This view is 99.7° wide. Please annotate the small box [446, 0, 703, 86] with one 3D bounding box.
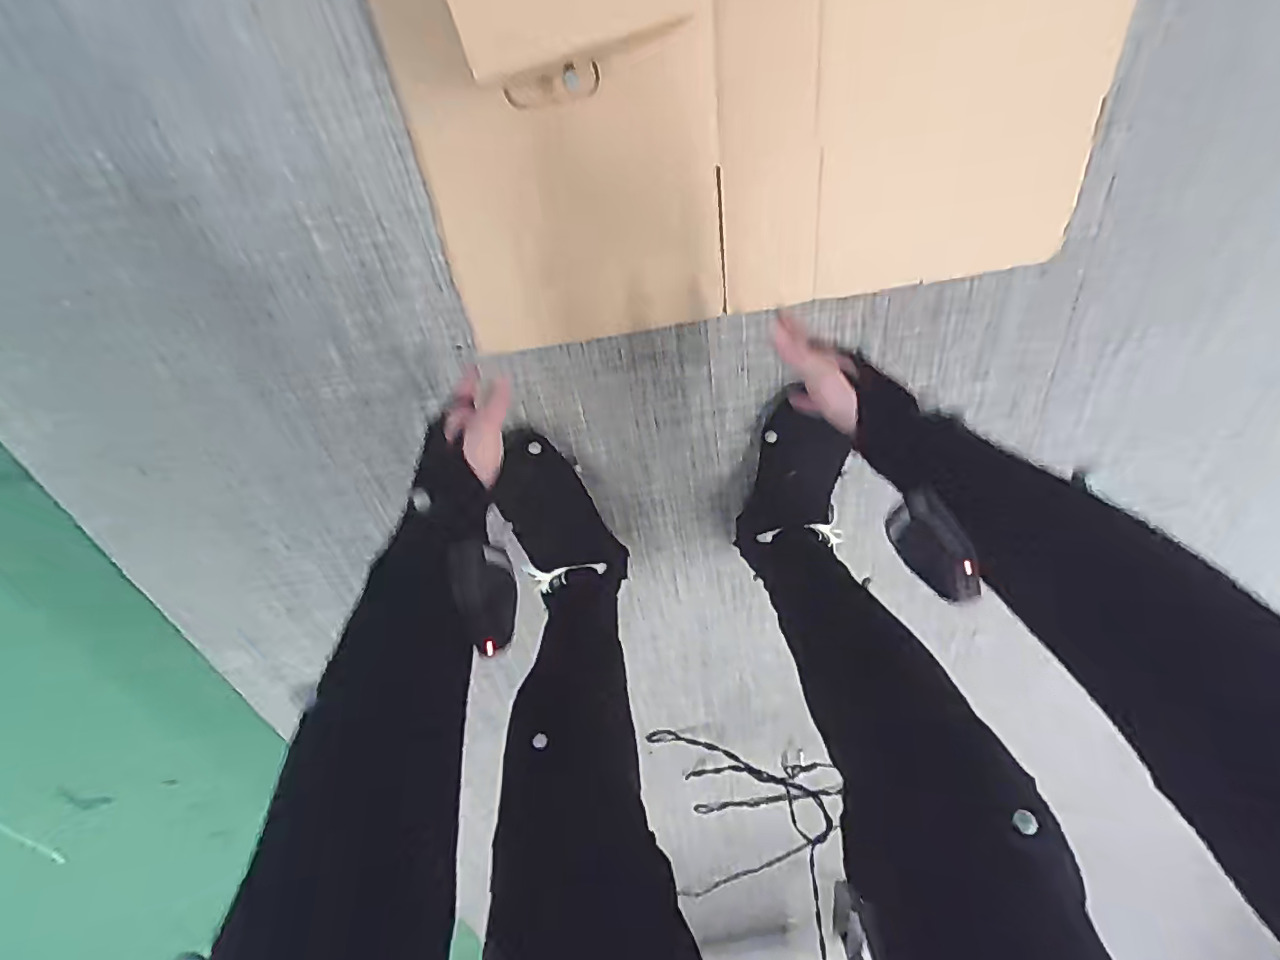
[{"bbox_3d":[-0.064,-0.405,0.379,0.168,0.176,0.179,-15,125,4],"label":"small box"}]
